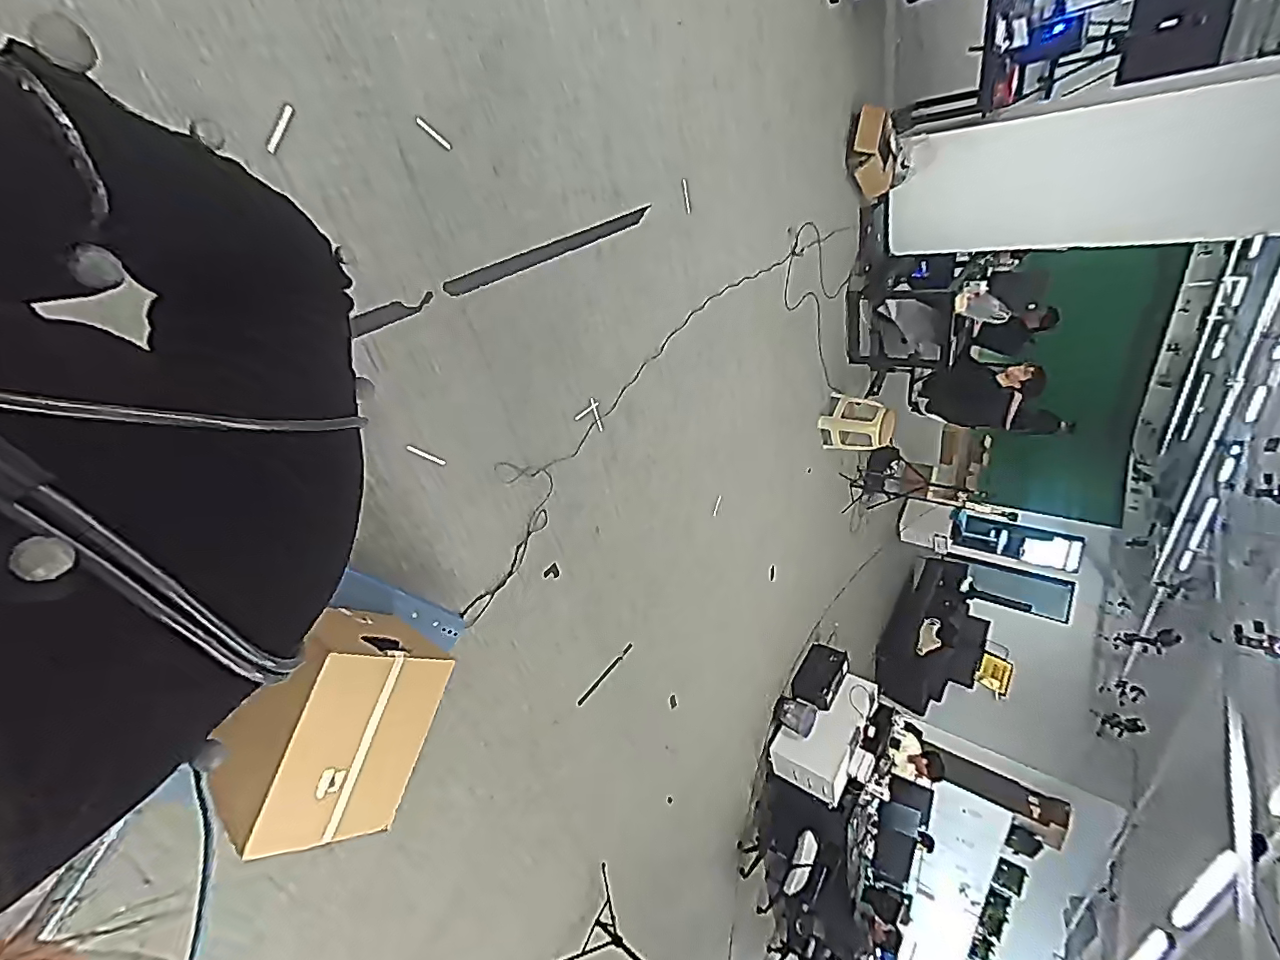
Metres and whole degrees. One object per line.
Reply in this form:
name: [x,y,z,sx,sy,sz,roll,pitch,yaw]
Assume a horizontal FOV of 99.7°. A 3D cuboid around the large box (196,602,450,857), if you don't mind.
large box: [-0.713,0.531,1.234,0.320,0.320,0.408,30,78,-51]
